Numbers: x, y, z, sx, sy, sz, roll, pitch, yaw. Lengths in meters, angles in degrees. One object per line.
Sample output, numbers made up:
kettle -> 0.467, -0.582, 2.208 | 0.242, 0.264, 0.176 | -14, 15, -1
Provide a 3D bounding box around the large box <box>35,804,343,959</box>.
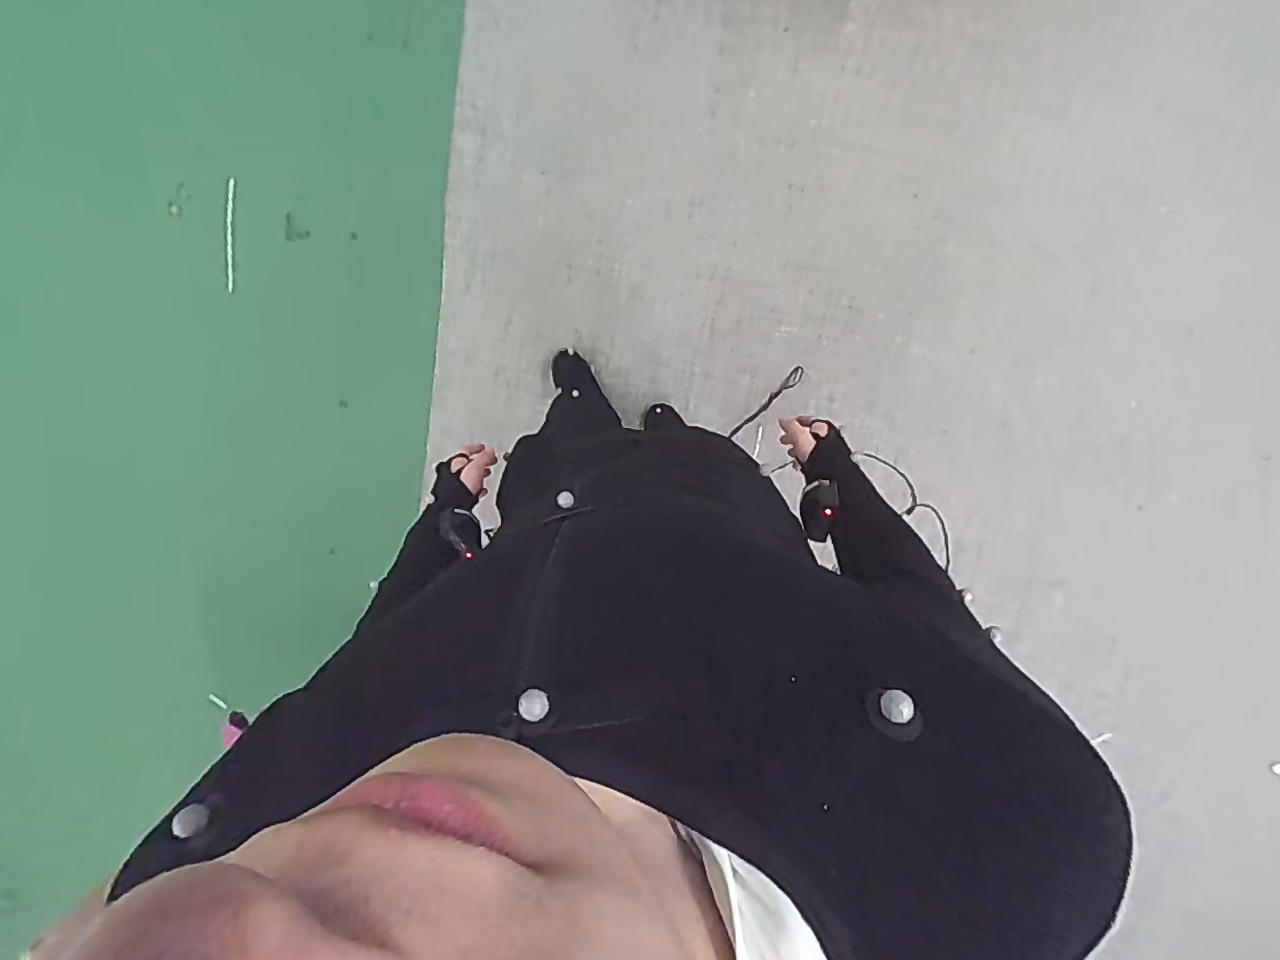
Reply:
large box -> -0.792, 0.912, 1.004 | 0.320, 0.320, 0.408 | 11, 103, 1
